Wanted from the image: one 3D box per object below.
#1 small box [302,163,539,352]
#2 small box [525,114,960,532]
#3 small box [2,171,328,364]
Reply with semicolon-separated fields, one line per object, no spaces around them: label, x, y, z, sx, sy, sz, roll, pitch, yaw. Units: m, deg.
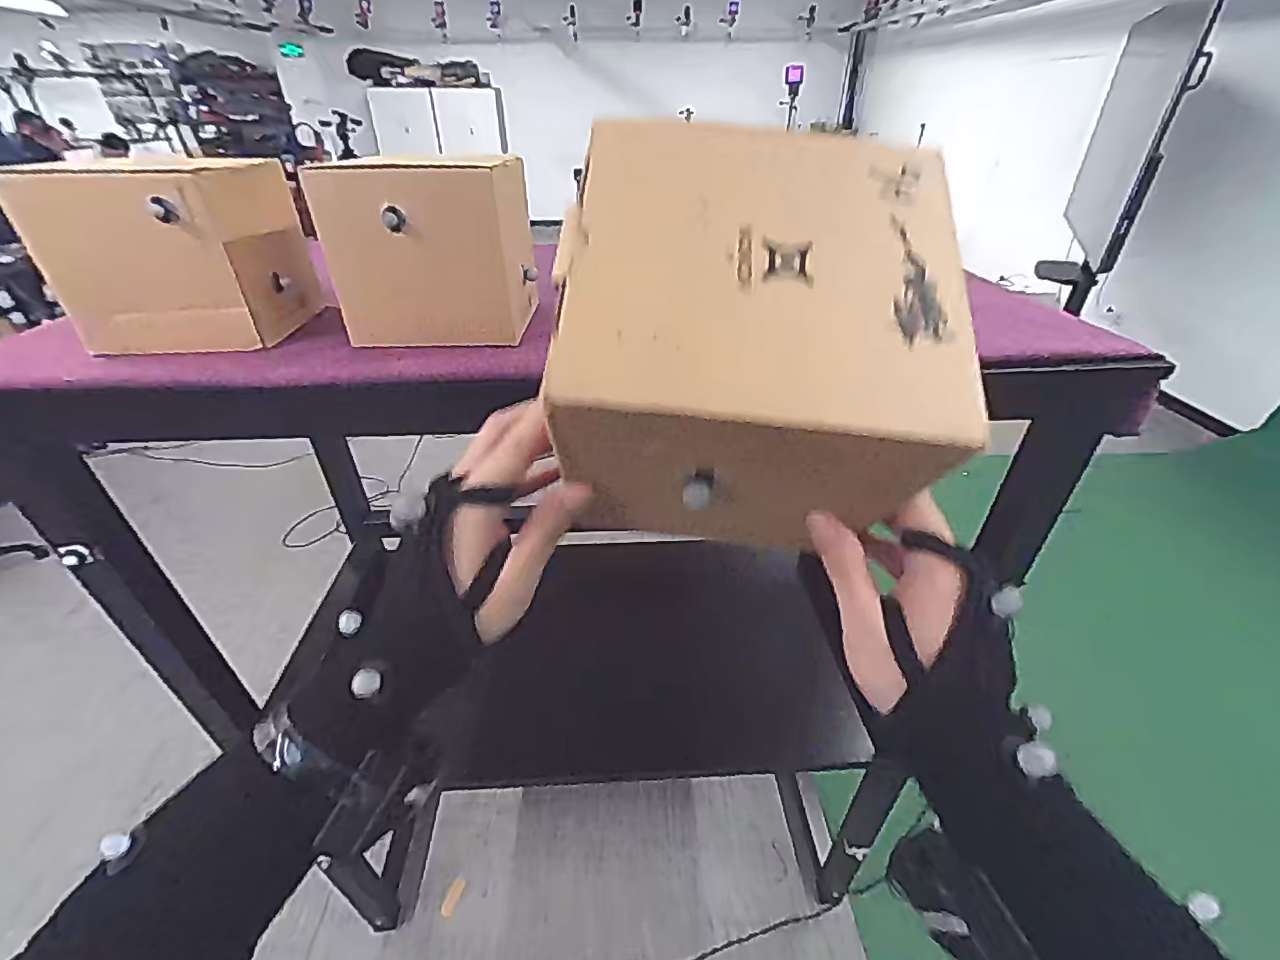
small box;-0.219;-0.246;0.597;0.179;0.176;0.168;-1;34;0
small box;0.048;-0.073;0.317;0.179;0.176;0.168;5;70;2
small box;-0.481;-0.232;0.588;0.179;0.176;0.168;-3;34;-4
